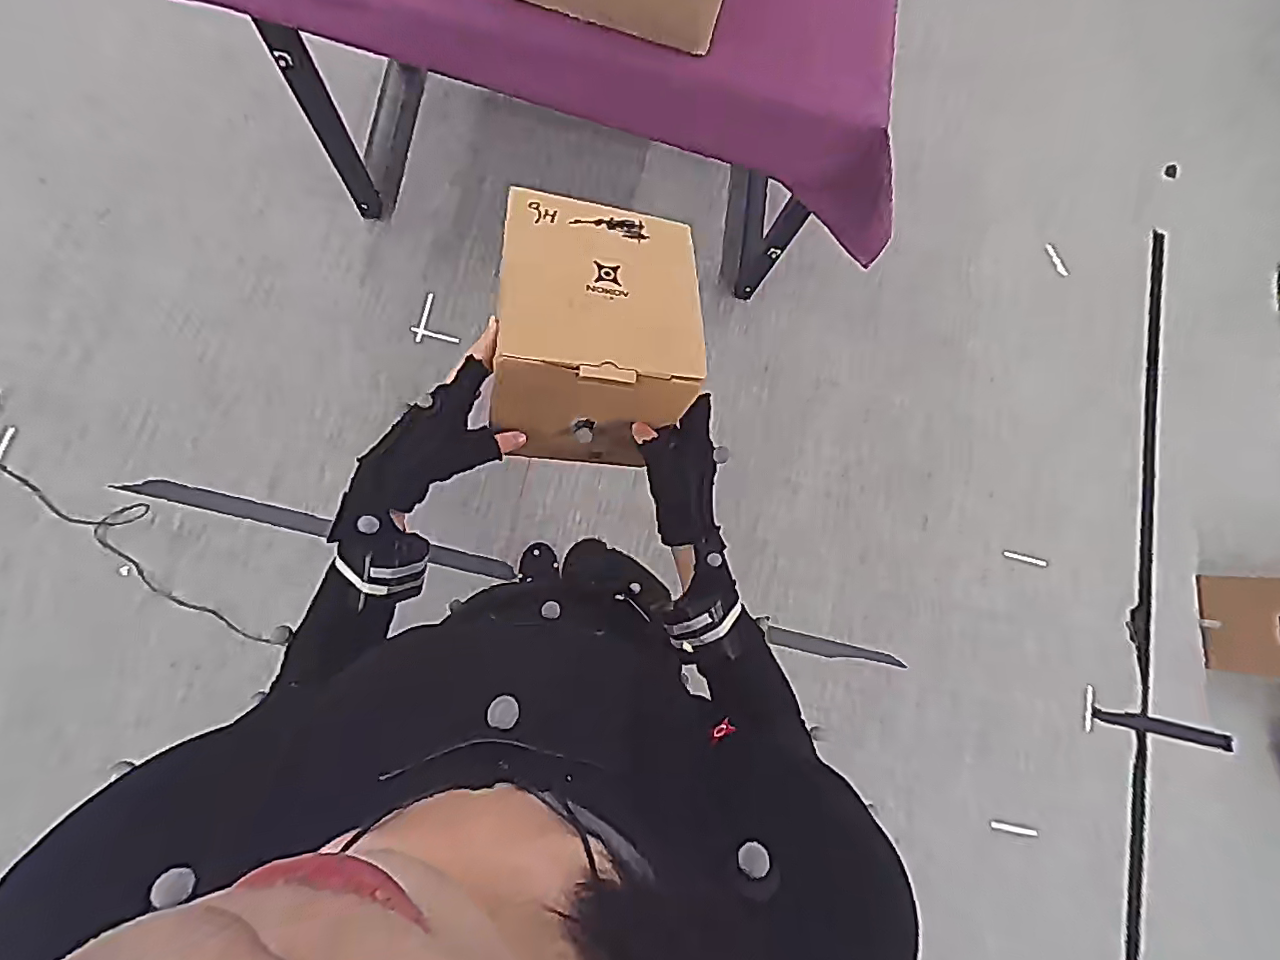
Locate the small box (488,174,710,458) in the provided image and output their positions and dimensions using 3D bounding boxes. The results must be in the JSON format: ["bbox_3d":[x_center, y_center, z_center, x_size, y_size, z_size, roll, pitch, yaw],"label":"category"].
[{"bbox_3d":[-0.048,-0.134,0.503,0.168,0.176,0.179,6,66,-17],"label":"small box"}]
